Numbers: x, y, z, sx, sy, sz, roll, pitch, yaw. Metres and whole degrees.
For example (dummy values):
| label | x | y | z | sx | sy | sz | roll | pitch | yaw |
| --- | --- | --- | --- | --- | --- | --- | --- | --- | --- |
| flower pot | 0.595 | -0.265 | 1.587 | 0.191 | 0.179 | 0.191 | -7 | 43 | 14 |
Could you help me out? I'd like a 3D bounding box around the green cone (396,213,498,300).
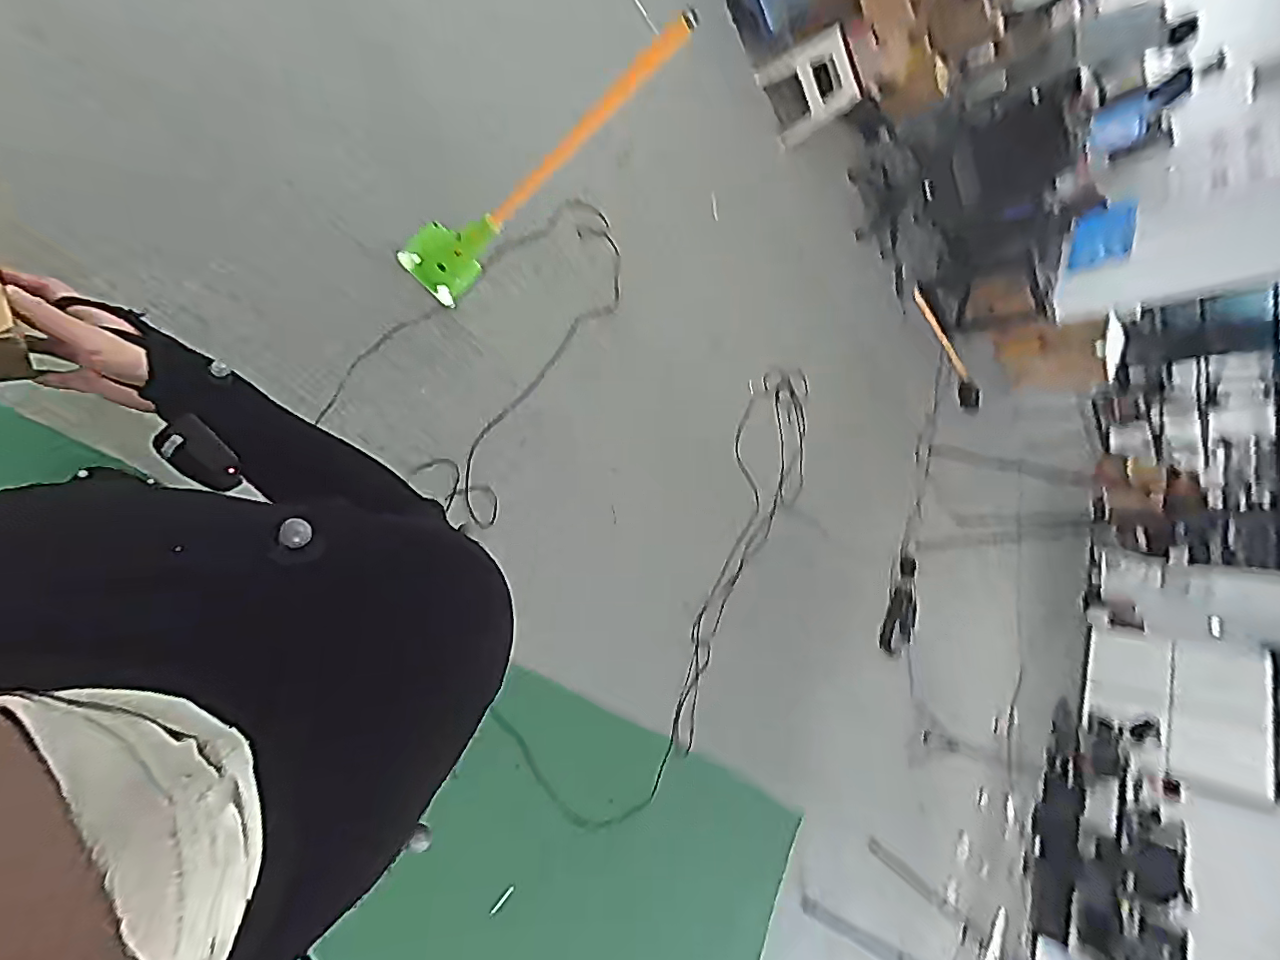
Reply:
| label | x | y | z | sx | sy | sz | roll | pitch | yaw |
| --- | --- | --- | --- | --- | --- | --- | --- | --- | --- |
| green cone | -0.520 | -0.695 | 1.570 | 0.202 | 0.368 | 0.200 | 43 | 63 | -34 |
